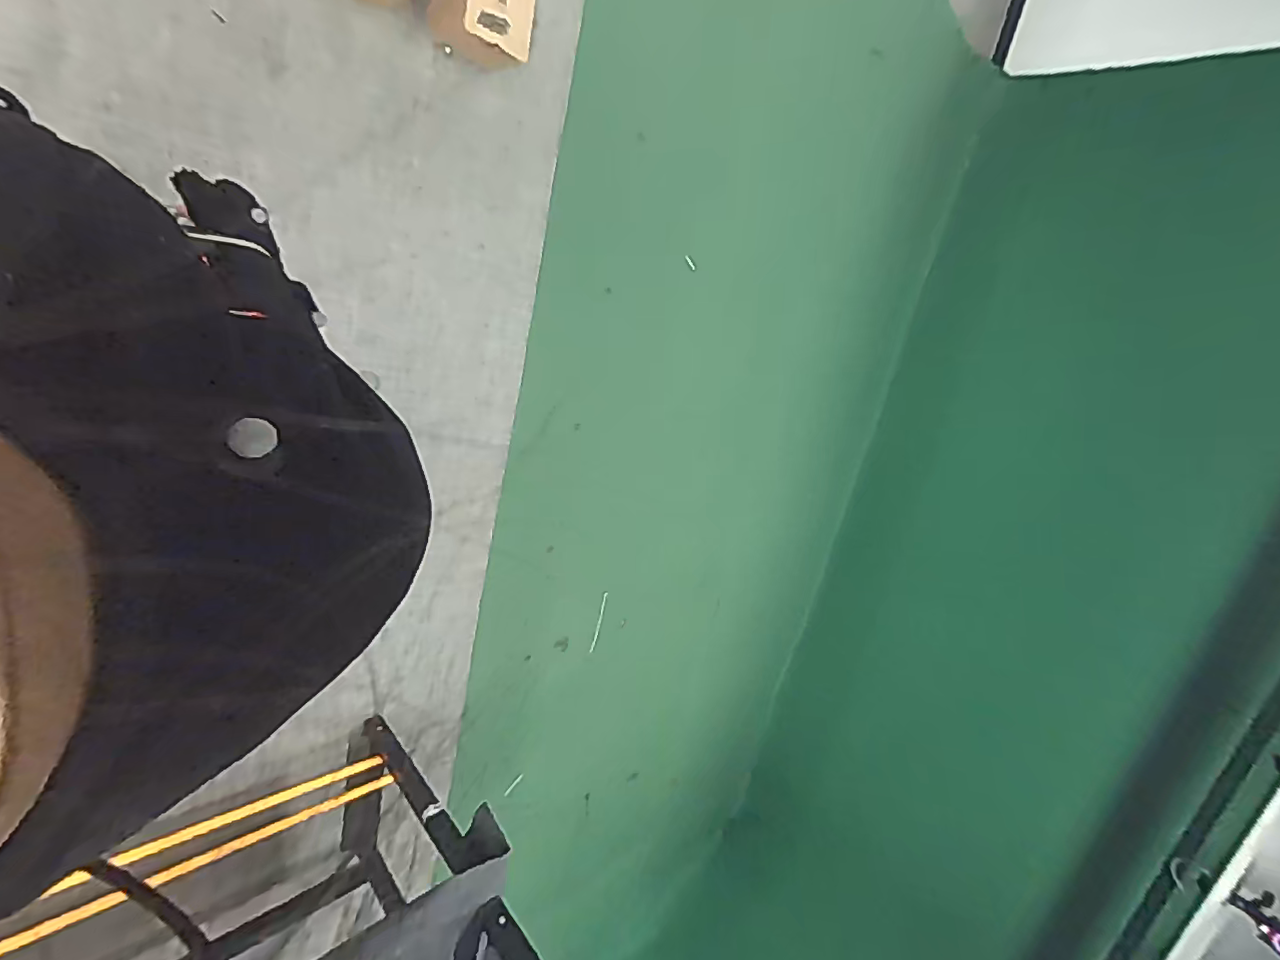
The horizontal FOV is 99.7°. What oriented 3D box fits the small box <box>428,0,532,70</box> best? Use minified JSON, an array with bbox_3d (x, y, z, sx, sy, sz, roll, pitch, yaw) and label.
[{"bbox_3d":[-0.371,-1.089,1.251,0.168,0.176,0.179,-5,113,-47],"label":"small box"}]
